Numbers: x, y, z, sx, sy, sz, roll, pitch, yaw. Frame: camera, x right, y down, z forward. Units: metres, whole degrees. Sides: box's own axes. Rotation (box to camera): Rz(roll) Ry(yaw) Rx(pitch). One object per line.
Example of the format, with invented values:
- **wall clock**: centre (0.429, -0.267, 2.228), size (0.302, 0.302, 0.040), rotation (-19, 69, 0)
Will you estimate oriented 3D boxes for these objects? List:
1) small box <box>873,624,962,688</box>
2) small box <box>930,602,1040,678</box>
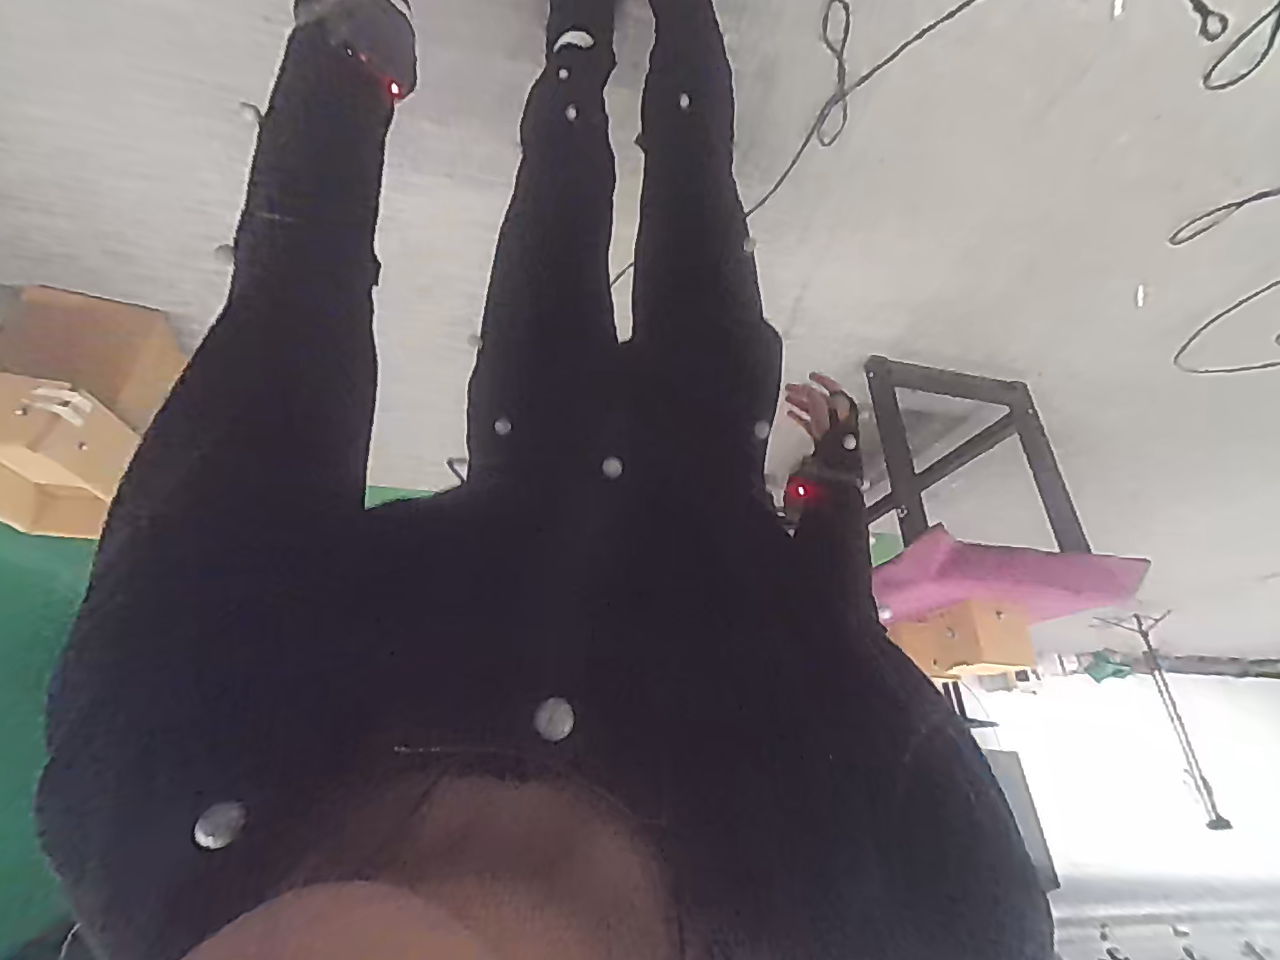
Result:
- **small box**: centre (0.872, 0.560, 1.716), size (0.179, 0.176, 0.168), rotation (6, 152, -7)
- **small box**: centre (0.935, 0.439, 1.485), size (0.179, 0.176, 0.168), rotation (8, 152, -12)
